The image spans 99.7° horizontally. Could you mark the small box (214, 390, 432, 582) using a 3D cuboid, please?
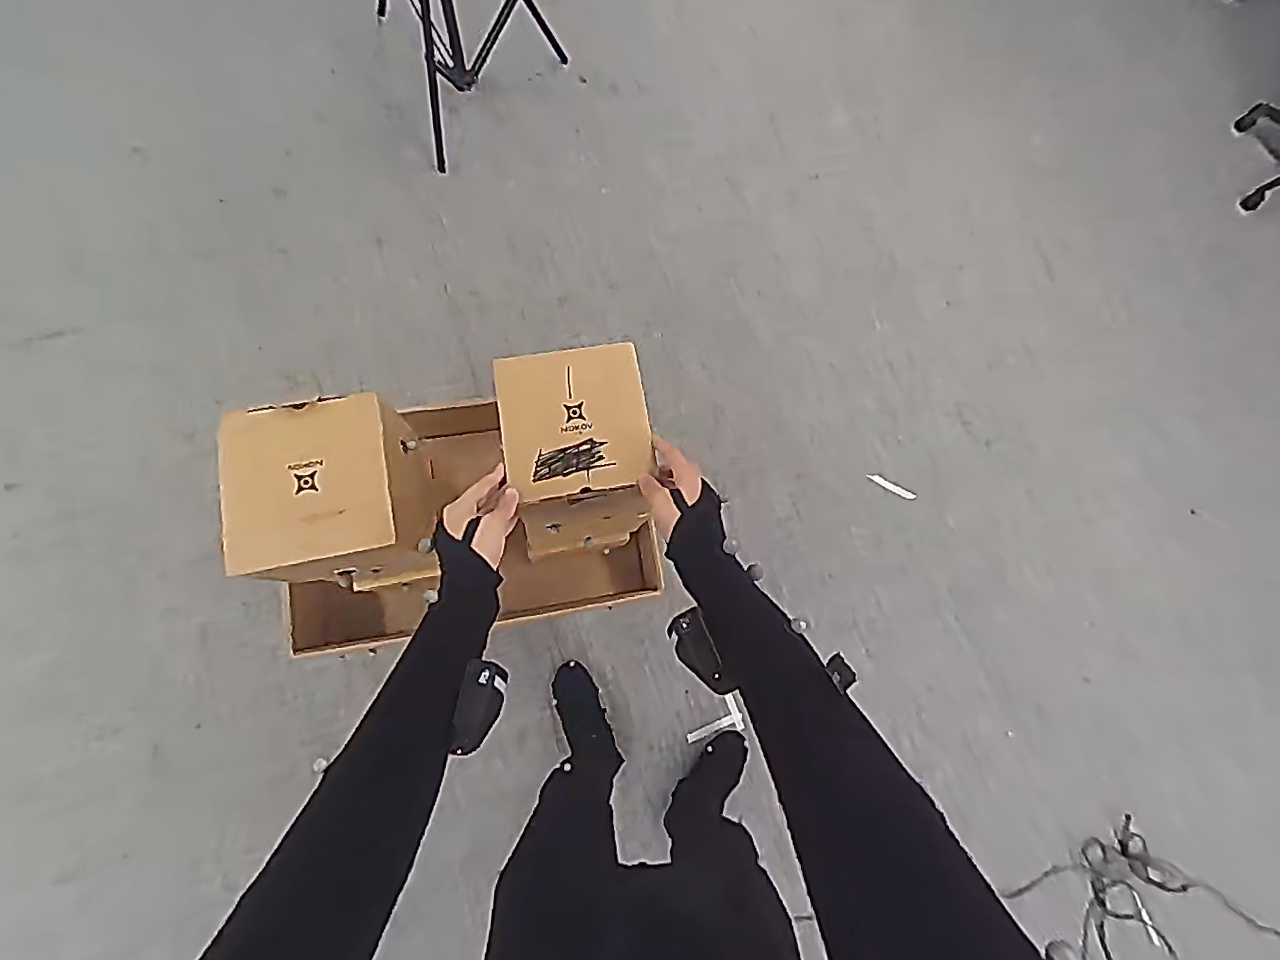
[{"bbox_3d":[-0.358,0.015,0.637,0.168,0.176,0.179,-11,78,-8],"label":"small box"}]

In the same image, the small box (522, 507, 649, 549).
[{"bbox_3d":[-0.097,0.007,0.840,0.179,0.176,0.168,-11,79,-9],"label":"small box"}]

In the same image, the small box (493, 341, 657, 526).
[{"bbox_3d":[-0.077,-0.046,0.673,0.168,0.176,0.179,-9,75,-6],"label":"small box"}]

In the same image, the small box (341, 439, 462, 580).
[{"bbox_3d":[-0.375,0.050,0.797,0.179,0.176,0.168,-8,78,-10],"label":"small box"}]

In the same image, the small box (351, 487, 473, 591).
[{"bbox_3d":[-0.399,0.095,0.954,0.168,0.176,0.179,-10,78,-10],"label":"small box"}]
